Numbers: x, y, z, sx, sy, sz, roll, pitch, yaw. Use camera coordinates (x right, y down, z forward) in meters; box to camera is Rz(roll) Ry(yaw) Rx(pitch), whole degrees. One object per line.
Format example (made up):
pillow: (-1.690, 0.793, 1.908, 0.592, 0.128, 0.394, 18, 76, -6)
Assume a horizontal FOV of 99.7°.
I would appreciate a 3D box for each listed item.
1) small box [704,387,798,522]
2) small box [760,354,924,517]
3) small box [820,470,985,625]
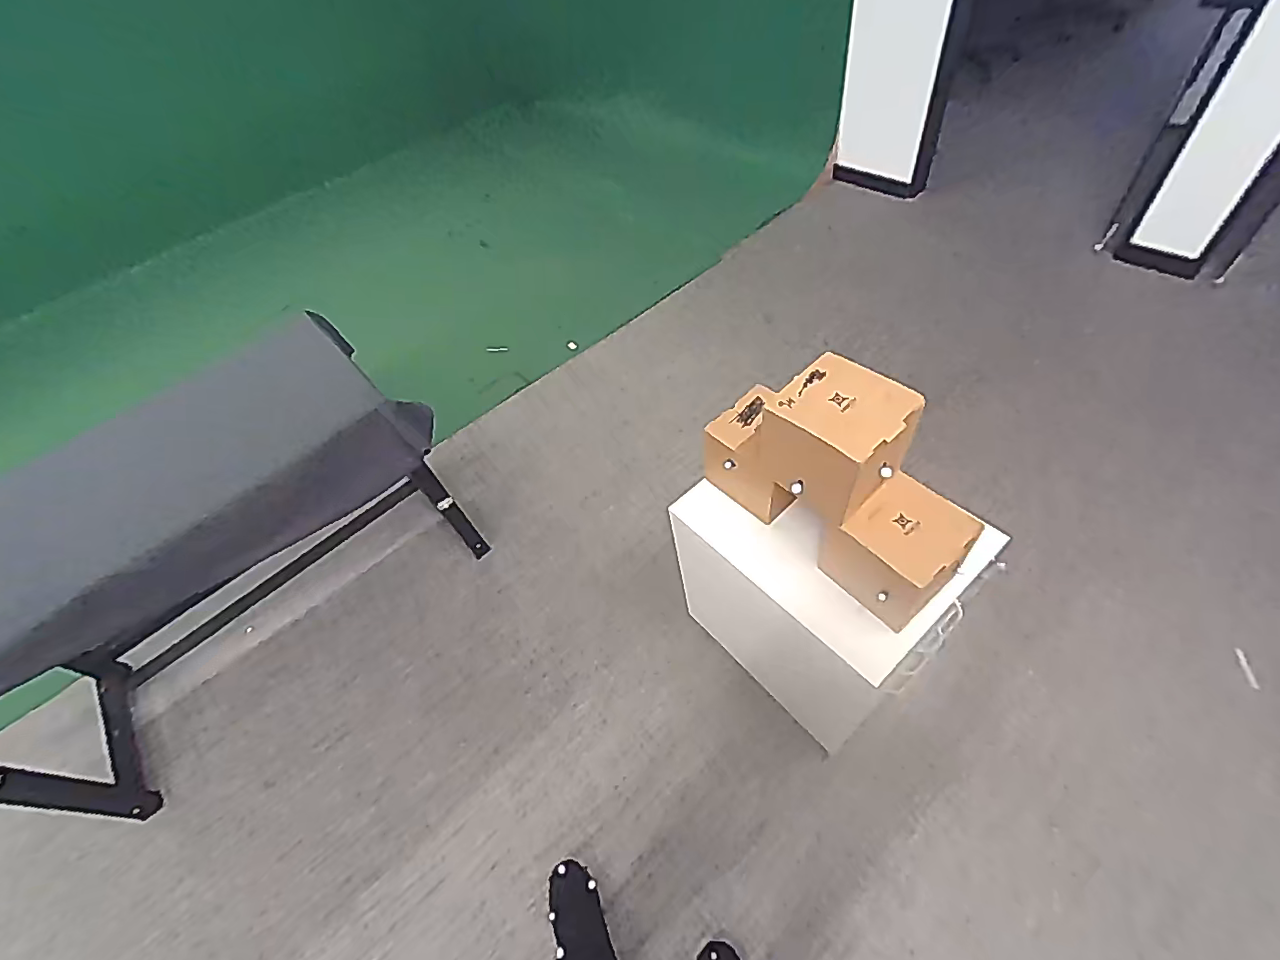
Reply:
small box: (0.246, -0.047, 1.080, 0.168, 0.176, 0.179, -39, 57, -18)
small box: (0.313, -0.064, 0.874, 0.168, 0.176, 0.179, -39, 57, -19)
small box: (0.432, 0.121, 0.918, 0.168, 0.176, 0.179, -36, 53, -18)
